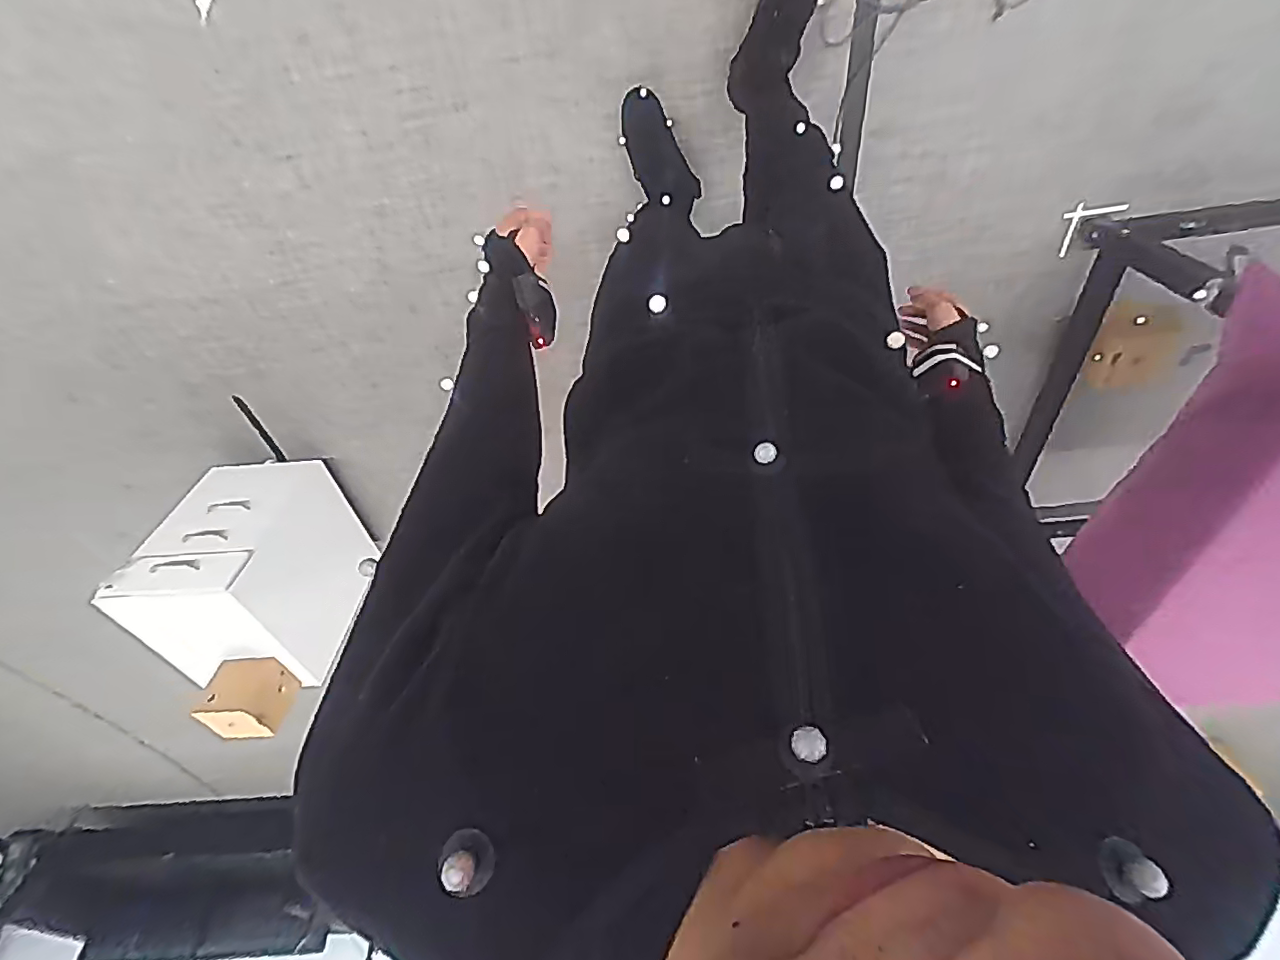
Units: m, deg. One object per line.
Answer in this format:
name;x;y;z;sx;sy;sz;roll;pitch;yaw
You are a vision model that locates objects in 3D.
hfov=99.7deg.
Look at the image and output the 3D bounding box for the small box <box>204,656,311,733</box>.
small box;-1.170;0.662;1.669;0.179;0.176;0.168;-5;132;6
